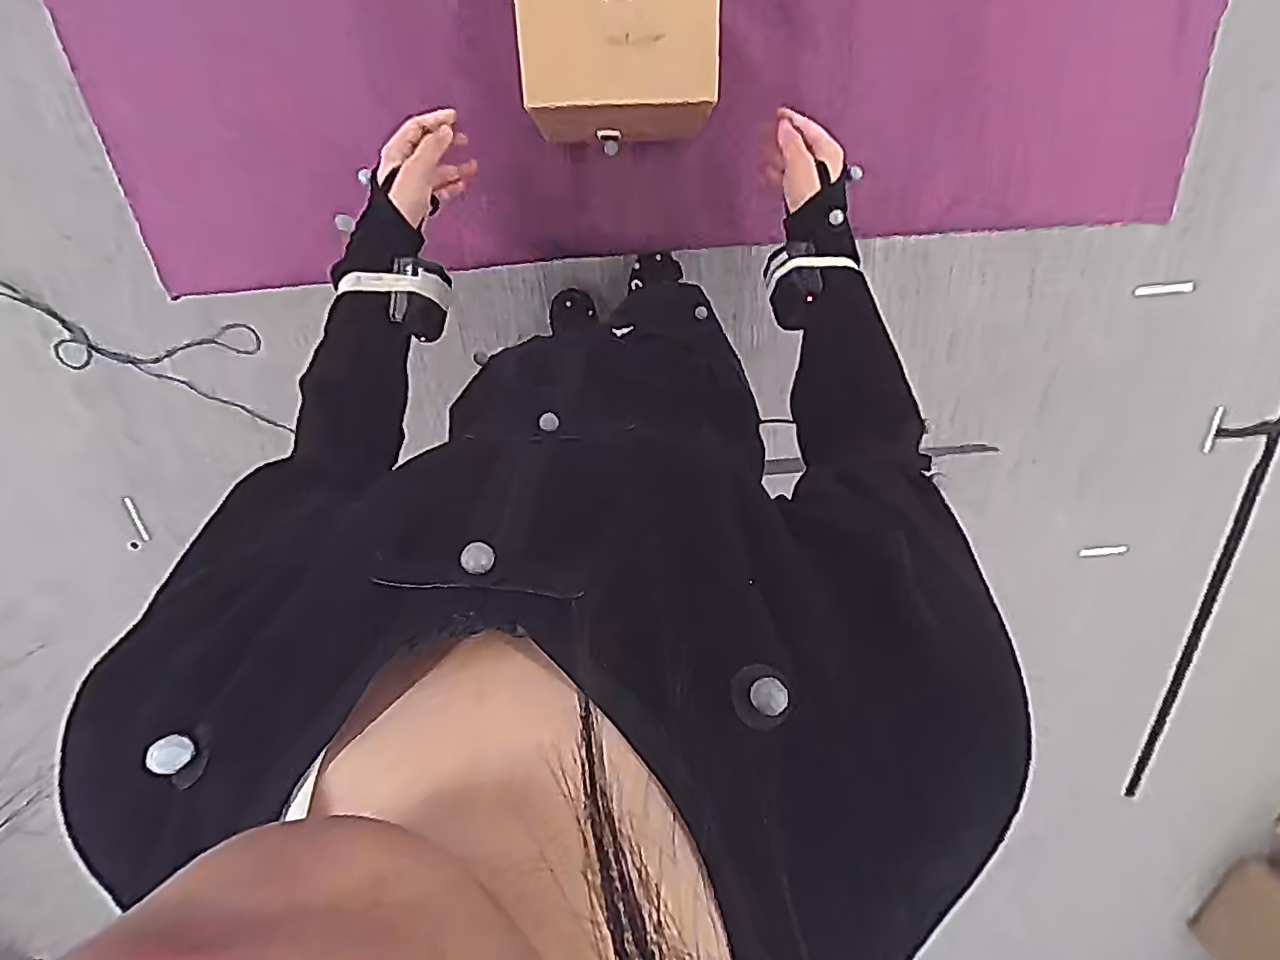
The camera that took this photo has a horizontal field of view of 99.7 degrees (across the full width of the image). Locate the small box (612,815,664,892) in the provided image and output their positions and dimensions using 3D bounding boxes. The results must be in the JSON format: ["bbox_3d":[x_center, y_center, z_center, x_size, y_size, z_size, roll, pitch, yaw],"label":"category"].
[{"bbox_3d":[-0.008,1.403,2.036,0.168,0.176,0.179,-11,114,1],"label":"small box"}]

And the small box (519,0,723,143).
[{"bbox_3d":[-0.019,-0.428,0.497,0.168,0.176,0.179,-2,113,-1],"label":"small box"}]
